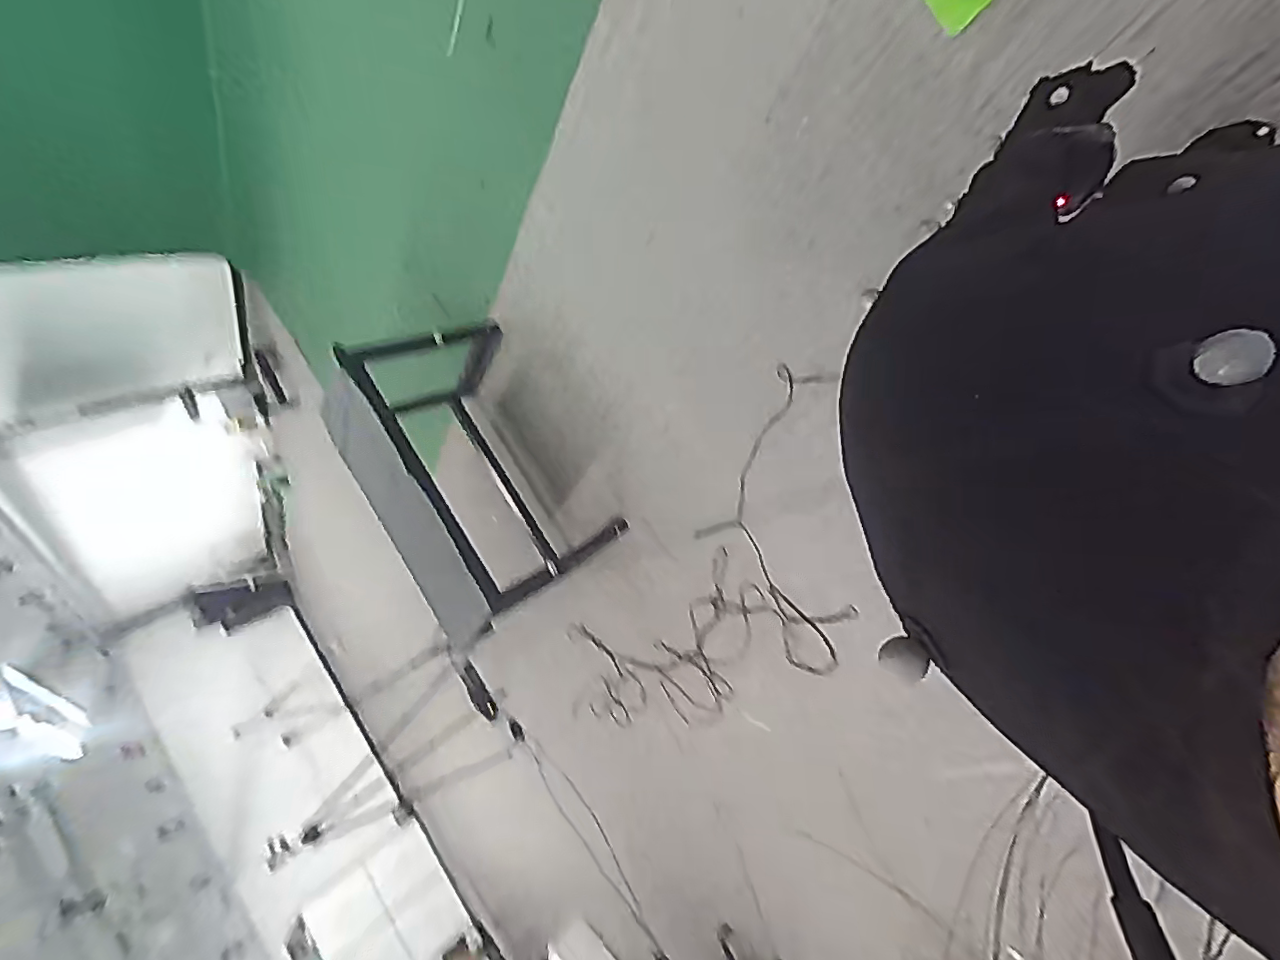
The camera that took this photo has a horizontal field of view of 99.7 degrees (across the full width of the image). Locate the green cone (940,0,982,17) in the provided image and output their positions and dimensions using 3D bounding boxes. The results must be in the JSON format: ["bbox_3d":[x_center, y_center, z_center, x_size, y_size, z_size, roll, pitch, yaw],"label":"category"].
[{"bbox_3d":[0.535,-0.993,0.923,0.200,0.368,0.202,-37,83,48],"label":"green cone"}]
